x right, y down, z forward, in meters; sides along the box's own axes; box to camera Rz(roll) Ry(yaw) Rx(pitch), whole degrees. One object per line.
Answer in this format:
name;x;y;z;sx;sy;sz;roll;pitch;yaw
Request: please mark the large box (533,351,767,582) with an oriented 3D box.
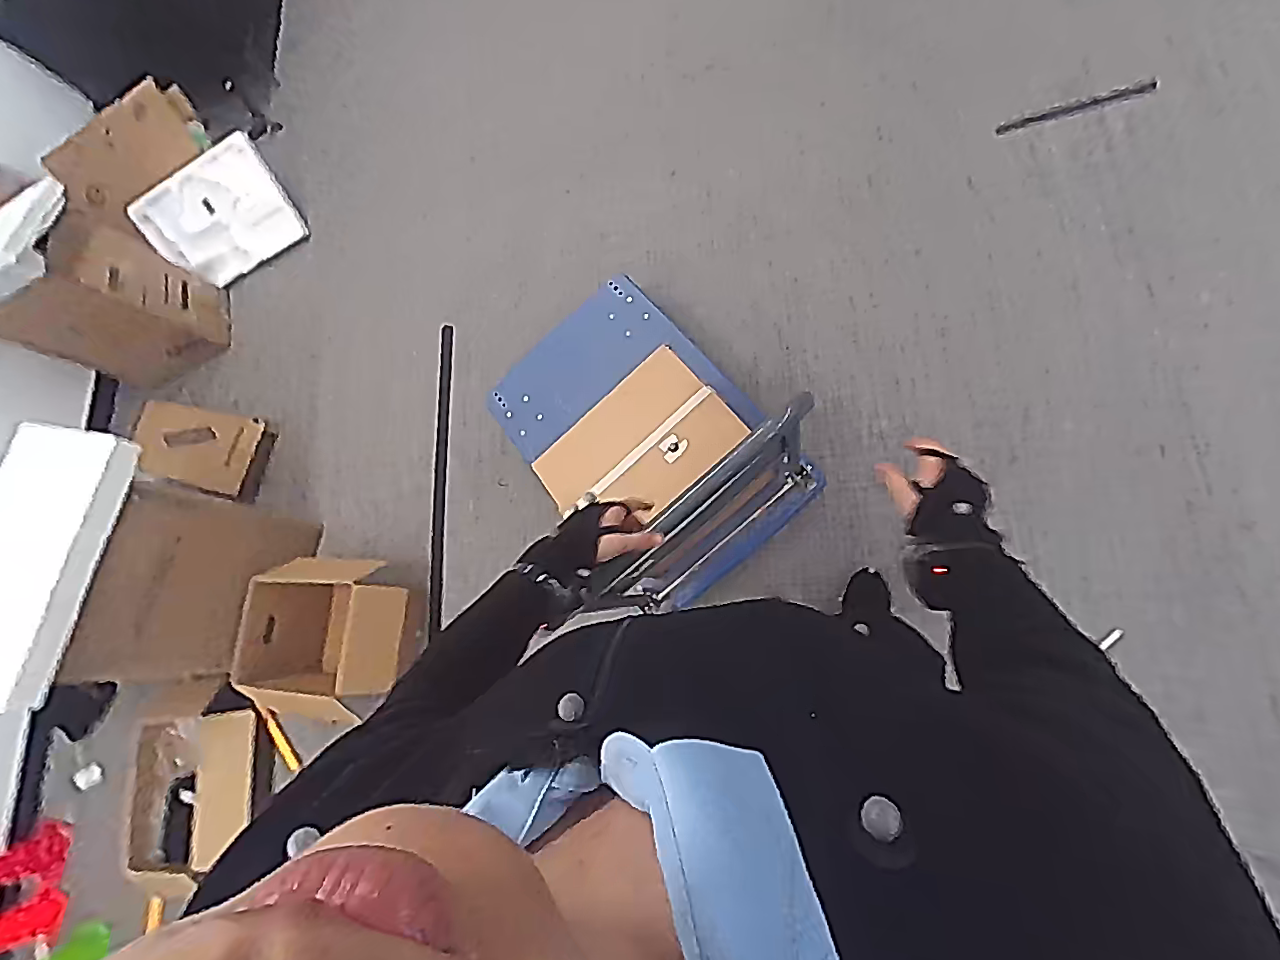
large box;0.036;-0.010;1.272;0.408;0.320;0.320;-42;69;5
